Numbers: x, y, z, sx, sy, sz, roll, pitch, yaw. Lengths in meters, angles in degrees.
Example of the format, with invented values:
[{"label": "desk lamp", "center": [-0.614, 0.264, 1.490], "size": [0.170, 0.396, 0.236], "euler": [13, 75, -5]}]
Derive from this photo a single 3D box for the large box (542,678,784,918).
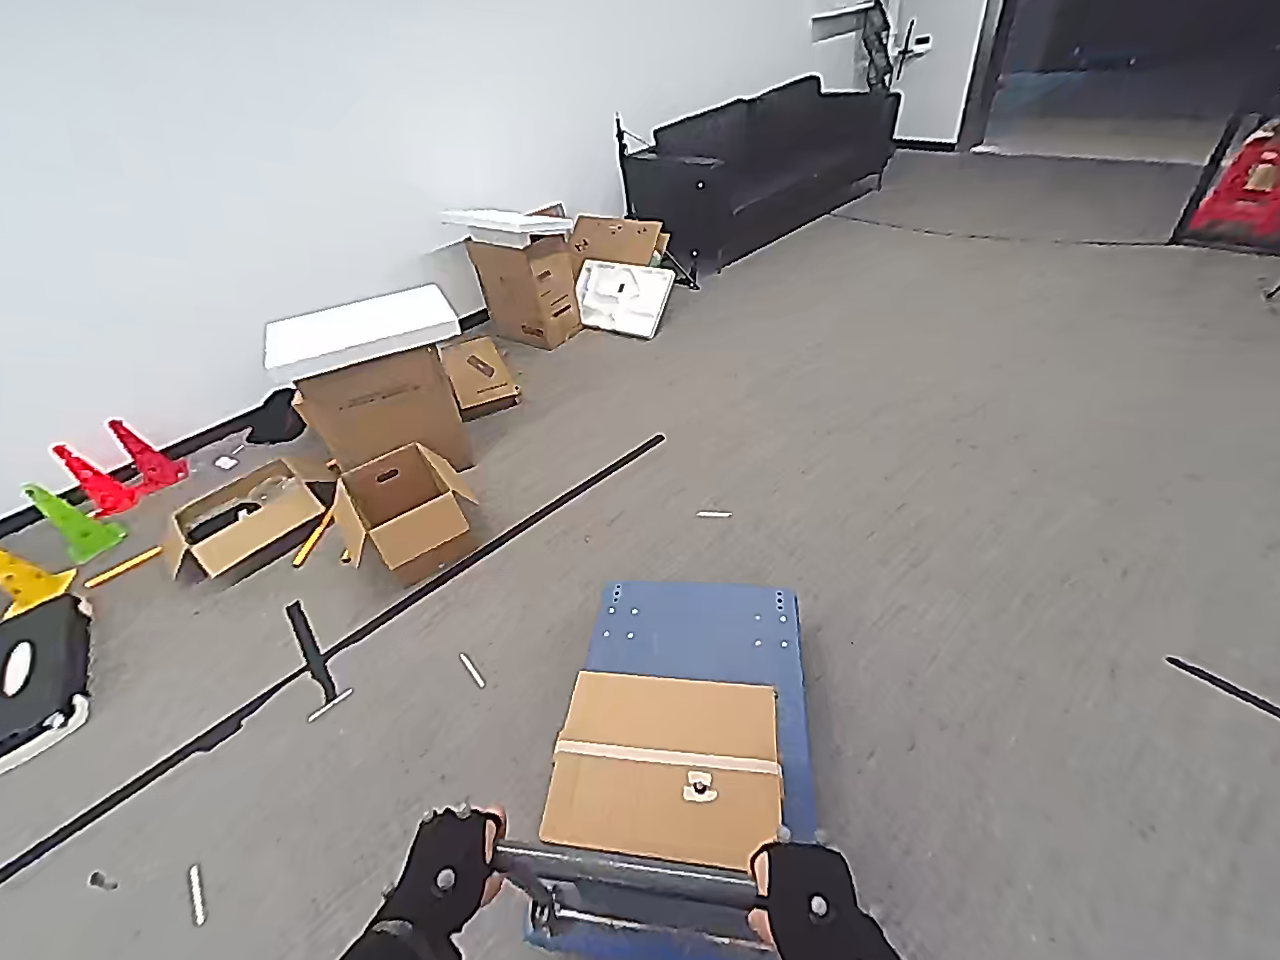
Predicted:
[{"label": "large box", "center": [0.061, 0.626, 1.077], "size": [0.408, 0.320, 0.320], "euler": [1, 43, 10]}]
